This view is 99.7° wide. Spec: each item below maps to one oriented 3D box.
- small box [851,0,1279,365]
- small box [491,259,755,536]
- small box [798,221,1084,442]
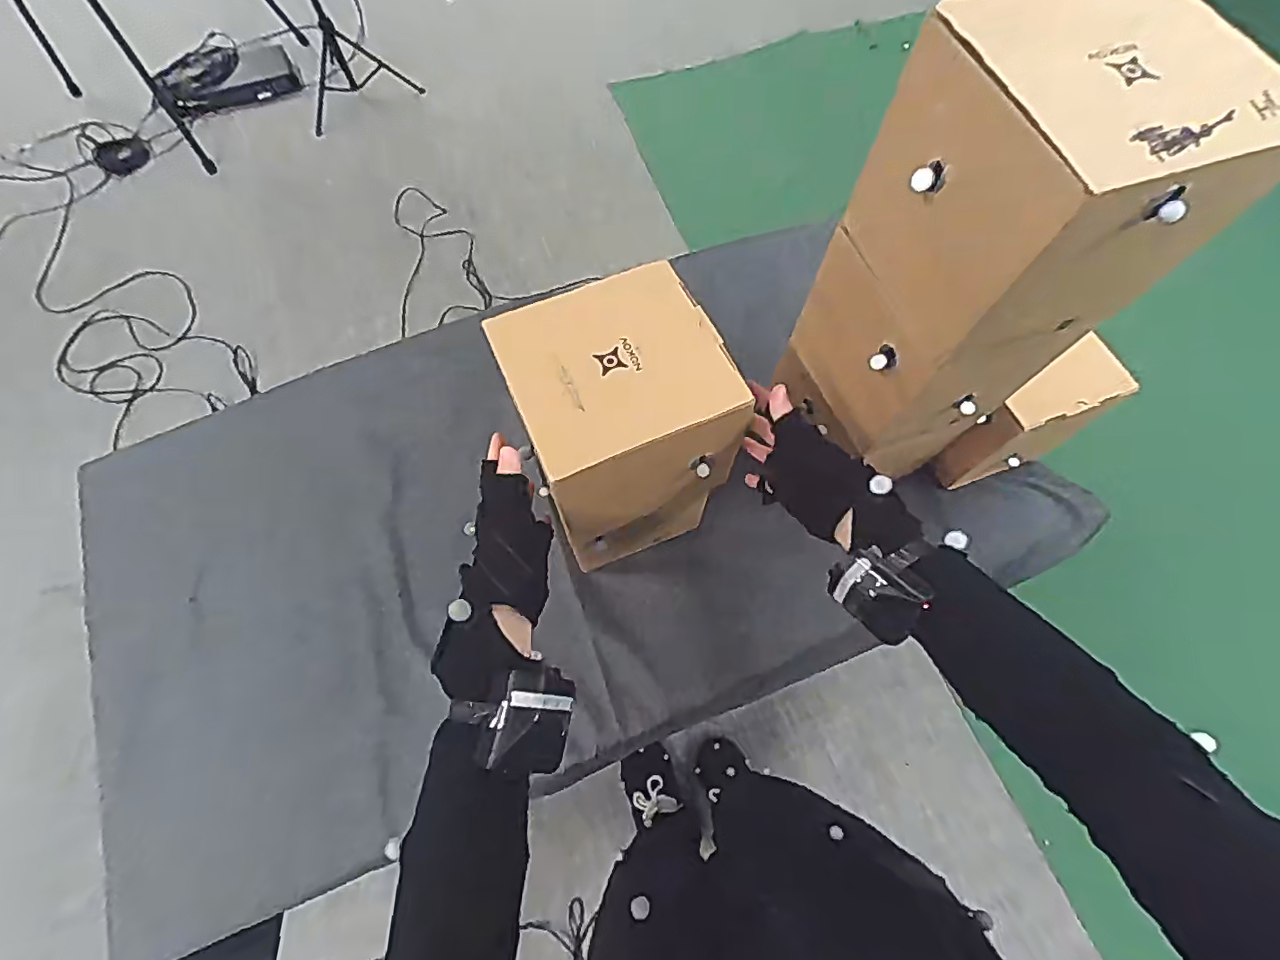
[{"bbox_3d":[0.287,-0.217,0.402,0.168,0.176,0.179,-17,68,-6],"label":"small box"},{"bbox_3d":[-0.018,-0.069,0.519,0.179,0.176,0.168,-23,68,-9],"label":"small box"},{"bbox_3d":[0.288,-0.156,0.554,0.168,0.176,0.179,-18,68,-7],"label":"small box"}]
